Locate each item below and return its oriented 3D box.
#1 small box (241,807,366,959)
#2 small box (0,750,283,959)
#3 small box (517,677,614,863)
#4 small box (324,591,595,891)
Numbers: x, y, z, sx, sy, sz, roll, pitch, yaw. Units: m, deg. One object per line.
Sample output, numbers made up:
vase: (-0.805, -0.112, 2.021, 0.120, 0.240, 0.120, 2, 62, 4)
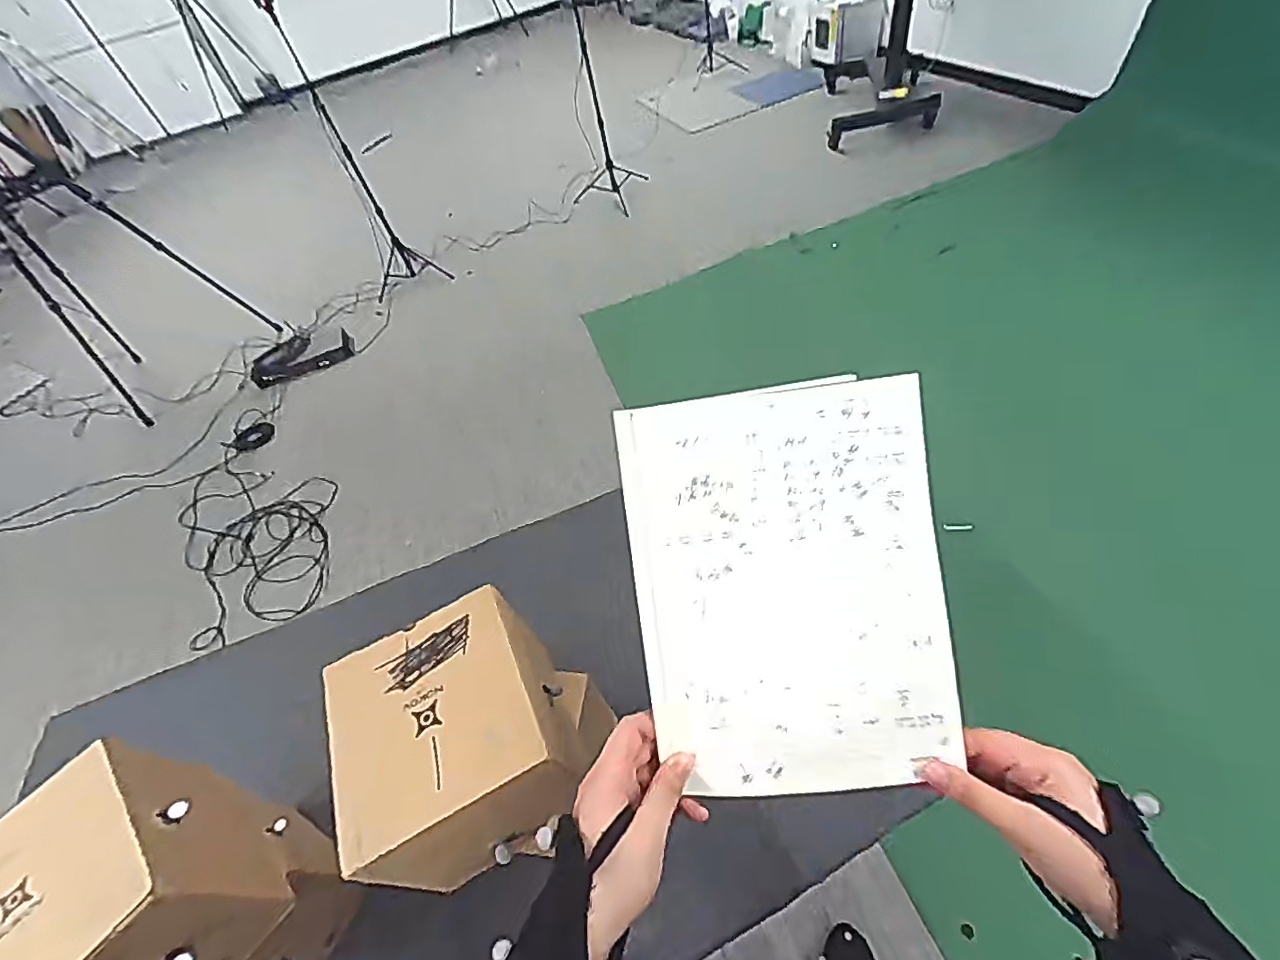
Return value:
small box: (-0.447, 0.480, 0.591, 0.179, 0.176, 0.168, 17, 56, 25)
small box: (-0.458, 0.376, 0.465, 0.179, 0.176, 0.168, 28, 61, 32)
small box: (-0.138, 0.338, 0.637, 0.179, 0.176, 0.168, -1, 50, 14)
small box: (-0.161, 0.244, 0.503, 0.168, 0.176, 0.179, -27, 50, -8)
